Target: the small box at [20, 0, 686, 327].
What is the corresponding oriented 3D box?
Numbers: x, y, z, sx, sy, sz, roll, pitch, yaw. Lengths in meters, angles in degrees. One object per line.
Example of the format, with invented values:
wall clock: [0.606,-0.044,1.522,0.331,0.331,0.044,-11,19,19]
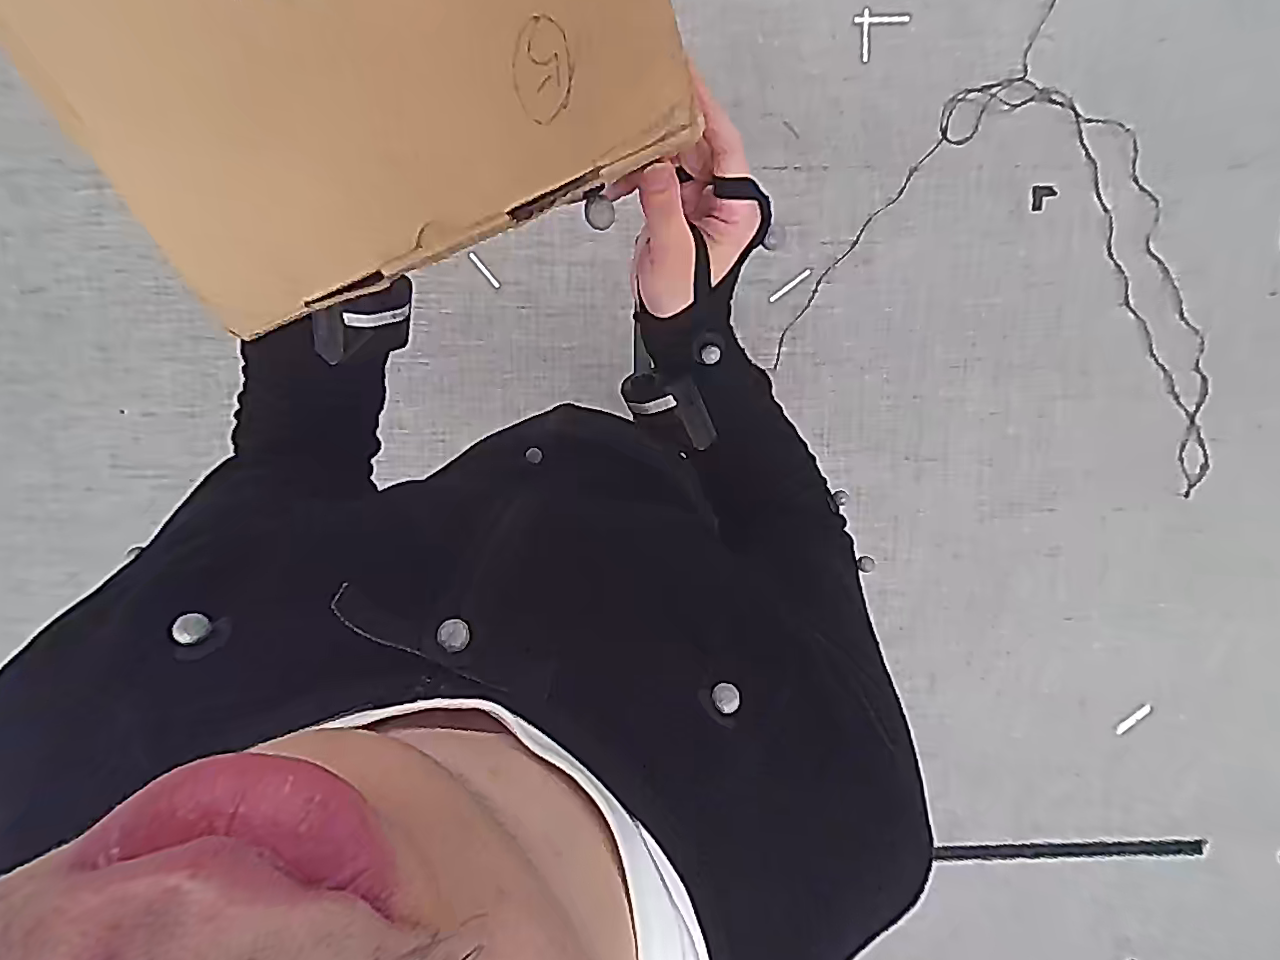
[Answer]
small box: [-0.084,-0.187,0.204,0.168,0.176,0.179,-18,117,14]
